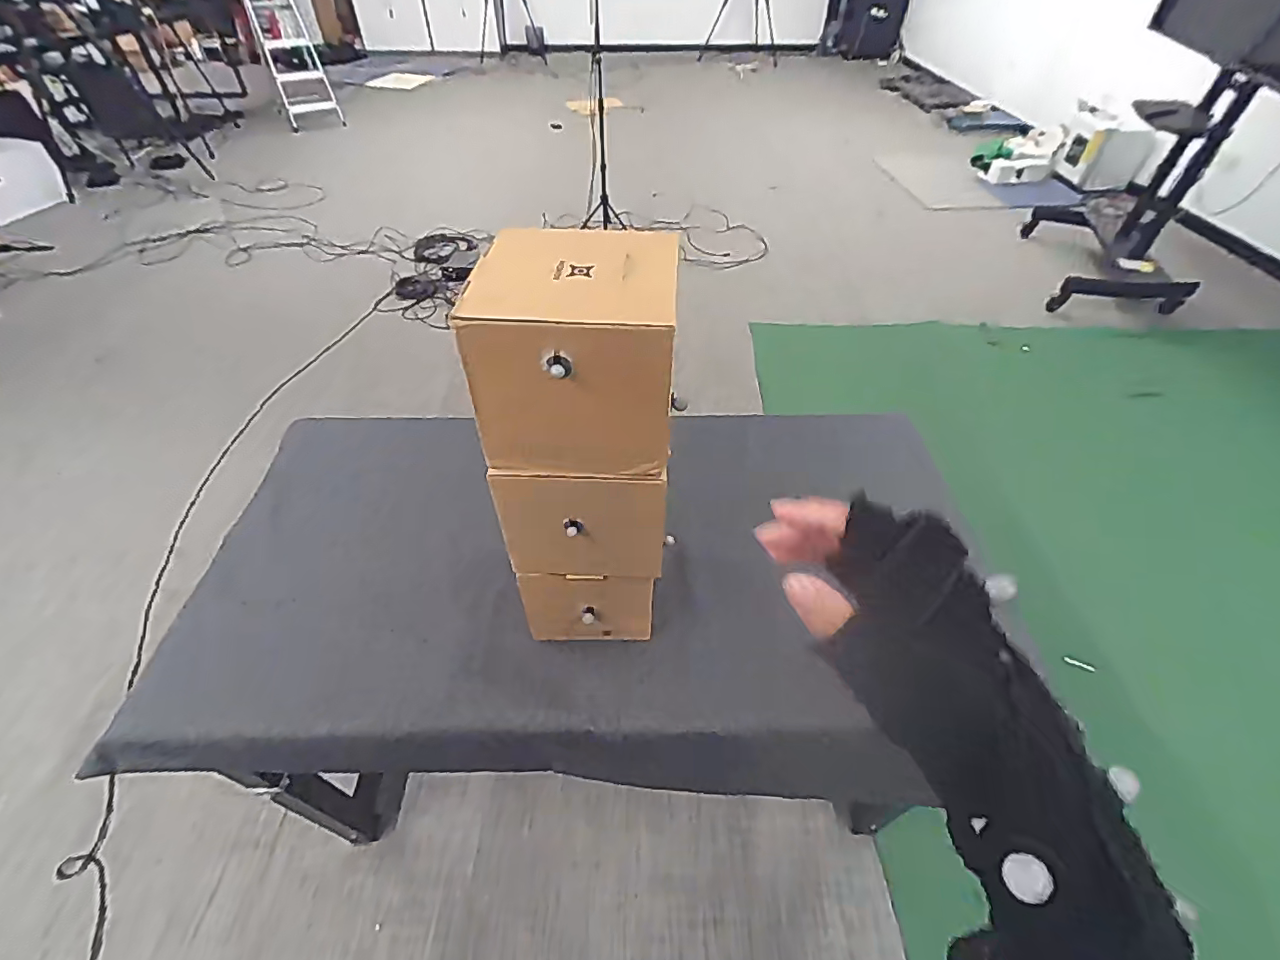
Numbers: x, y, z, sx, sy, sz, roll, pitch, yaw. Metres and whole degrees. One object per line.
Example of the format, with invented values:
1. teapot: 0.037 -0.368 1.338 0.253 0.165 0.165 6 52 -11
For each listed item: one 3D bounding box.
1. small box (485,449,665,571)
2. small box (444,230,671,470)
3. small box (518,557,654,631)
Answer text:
1. small box: -0.060 -0.006 0.634 0.179 0.176 0.168 0 46 2
2. small box: -0.060 -0.122 0.522 0.179 0.176 0.168 2 48 2
3. small box: -0.065 0.101 0.760 0.168 0.176 0.179 -2 47 0
